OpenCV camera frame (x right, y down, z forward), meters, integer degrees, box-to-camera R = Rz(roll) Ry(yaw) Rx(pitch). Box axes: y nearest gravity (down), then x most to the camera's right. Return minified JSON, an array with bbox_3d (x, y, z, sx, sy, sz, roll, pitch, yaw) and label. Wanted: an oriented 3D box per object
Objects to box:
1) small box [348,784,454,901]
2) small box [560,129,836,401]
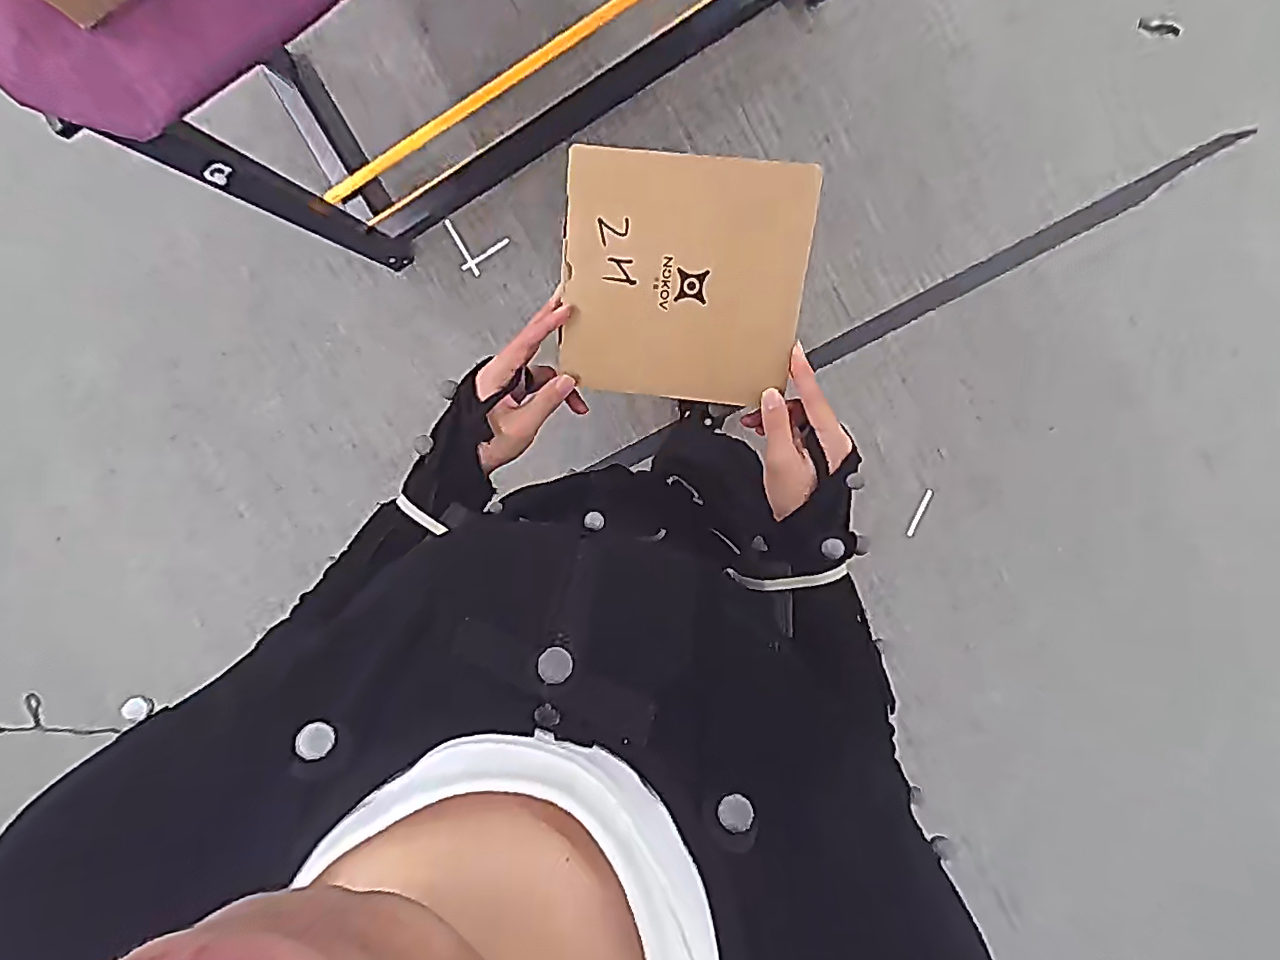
[{"bbox_3d":[-0.627,0.960,1.443,0.168,0.176,0.179,-22,95,7],"label":"small box"},{"bbox_3d":[0.041,-0.168,0.454,0.179,0.176,0.168,7,107,4],"label":"small box"}]
